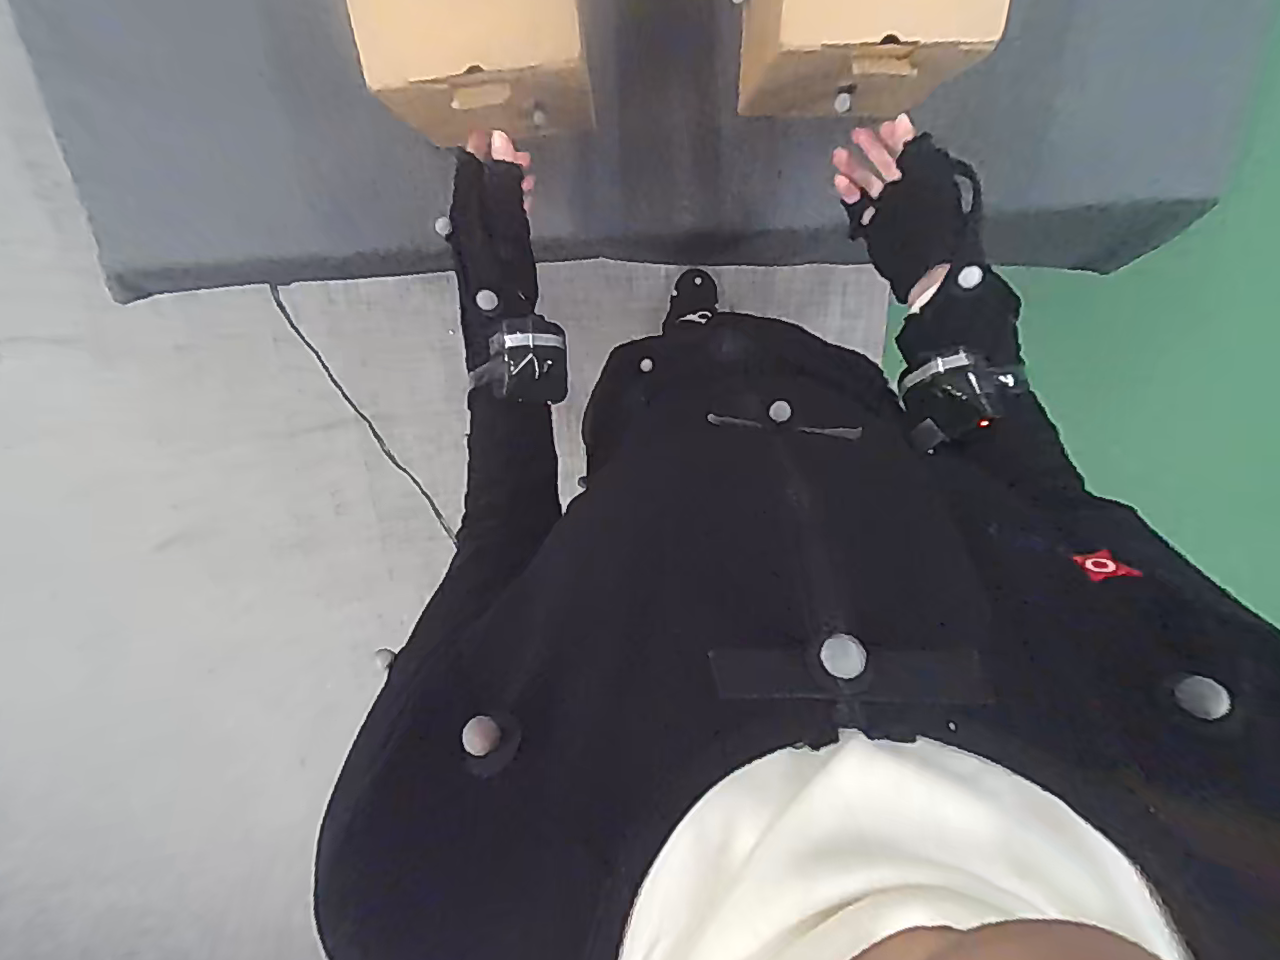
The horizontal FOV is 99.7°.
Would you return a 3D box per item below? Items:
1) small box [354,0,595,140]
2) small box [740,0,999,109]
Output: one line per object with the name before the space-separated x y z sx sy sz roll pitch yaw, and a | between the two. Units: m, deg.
small box | -0.133 -0.410 0.458 0.168 0.176 0.179 -8 107 0
small box | 0.183 -0.433 0.454 0.168 0.176 0.179 -1 110 -2
